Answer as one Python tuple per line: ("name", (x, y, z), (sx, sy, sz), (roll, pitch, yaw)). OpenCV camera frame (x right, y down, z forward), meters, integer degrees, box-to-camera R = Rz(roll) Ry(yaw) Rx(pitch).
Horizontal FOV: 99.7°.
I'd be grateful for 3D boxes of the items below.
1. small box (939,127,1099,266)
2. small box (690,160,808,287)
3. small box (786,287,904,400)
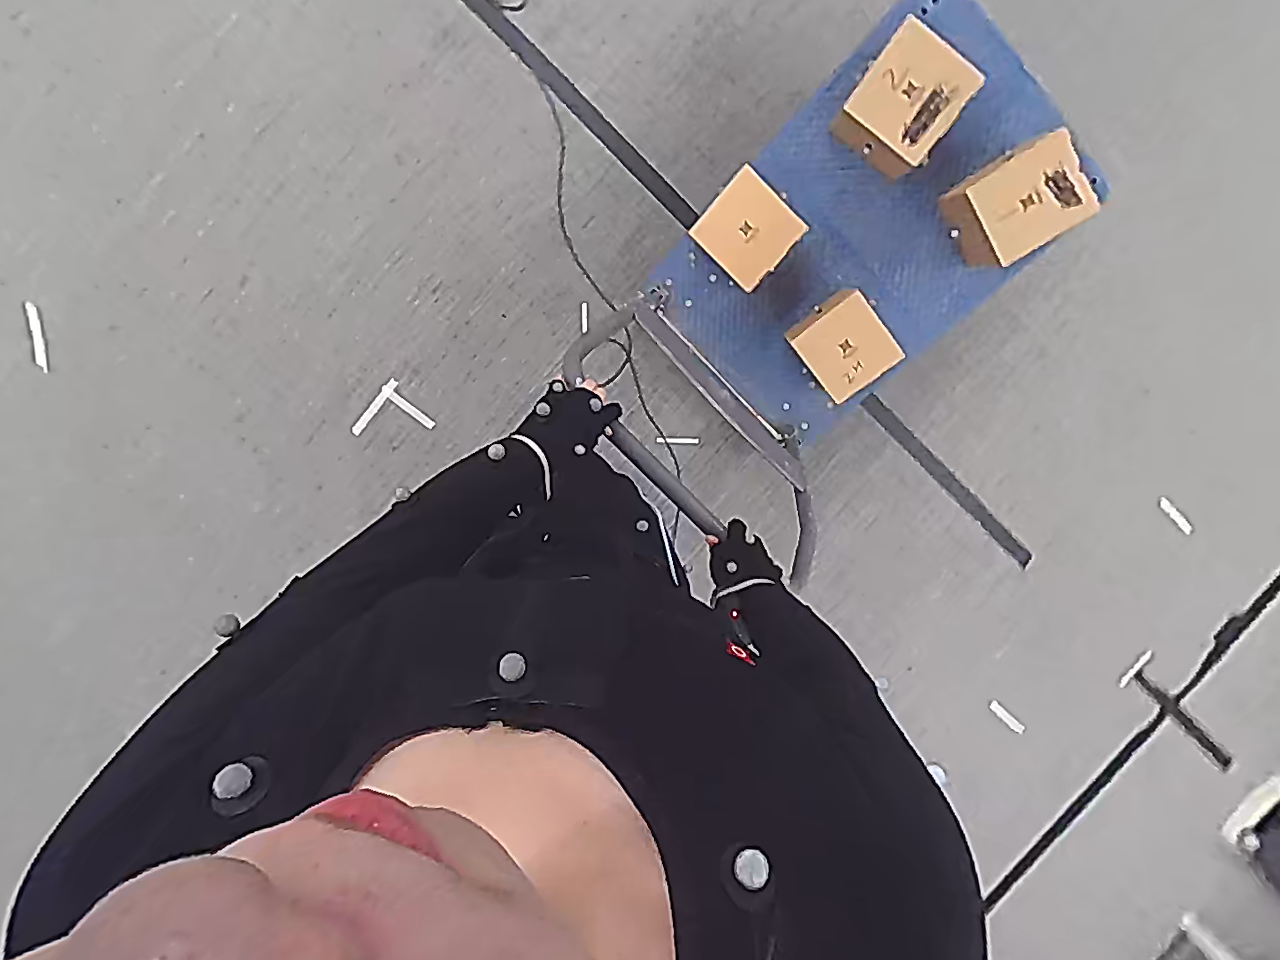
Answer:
("small box", (0.729, -0.543, 1.059), (0.179, 0.176, 0.168), (-30, 103, 20))
("small box", (0.226, -0.532, 1.148), (0.179, 0.176, 0.168), (42, 112, -9))
("small box", (0.442, -0.306, 1.199), (0.168, 0.176, 0.179), (-36, 101, 21))
